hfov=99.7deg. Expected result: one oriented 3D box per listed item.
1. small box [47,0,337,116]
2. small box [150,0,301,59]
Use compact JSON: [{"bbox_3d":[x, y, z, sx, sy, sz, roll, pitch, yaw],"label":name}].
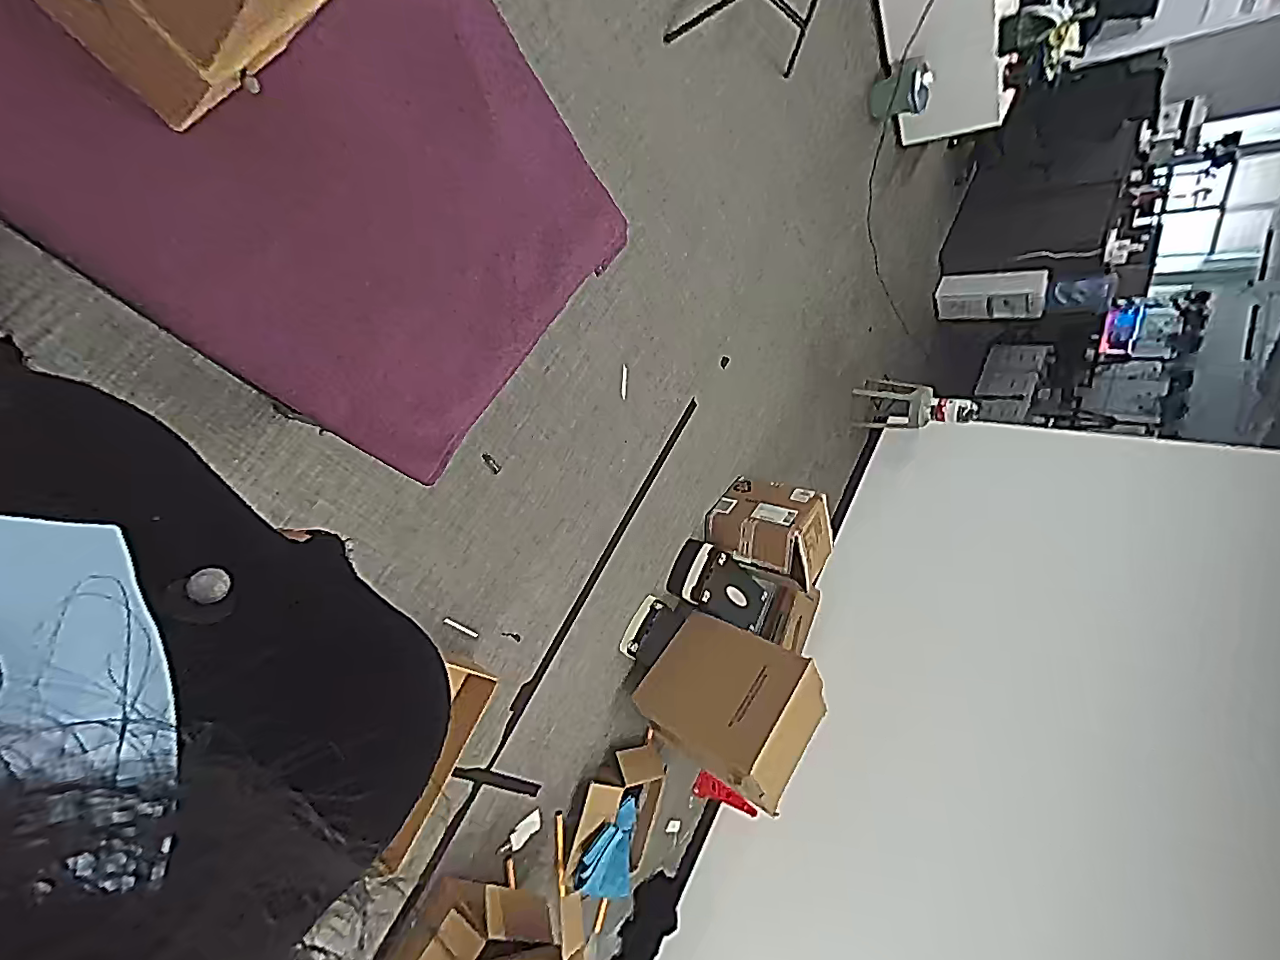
[{"bbox_3d":[-0.425,-0.466,0.487,0.168,0.176,0.179,-59,136,-19],"label":"small box"},{"bbox_3d":[-0.303,-0.446,0.377,0.179,0.176,0.168,-59,136,-19],"label":"small box"}]
